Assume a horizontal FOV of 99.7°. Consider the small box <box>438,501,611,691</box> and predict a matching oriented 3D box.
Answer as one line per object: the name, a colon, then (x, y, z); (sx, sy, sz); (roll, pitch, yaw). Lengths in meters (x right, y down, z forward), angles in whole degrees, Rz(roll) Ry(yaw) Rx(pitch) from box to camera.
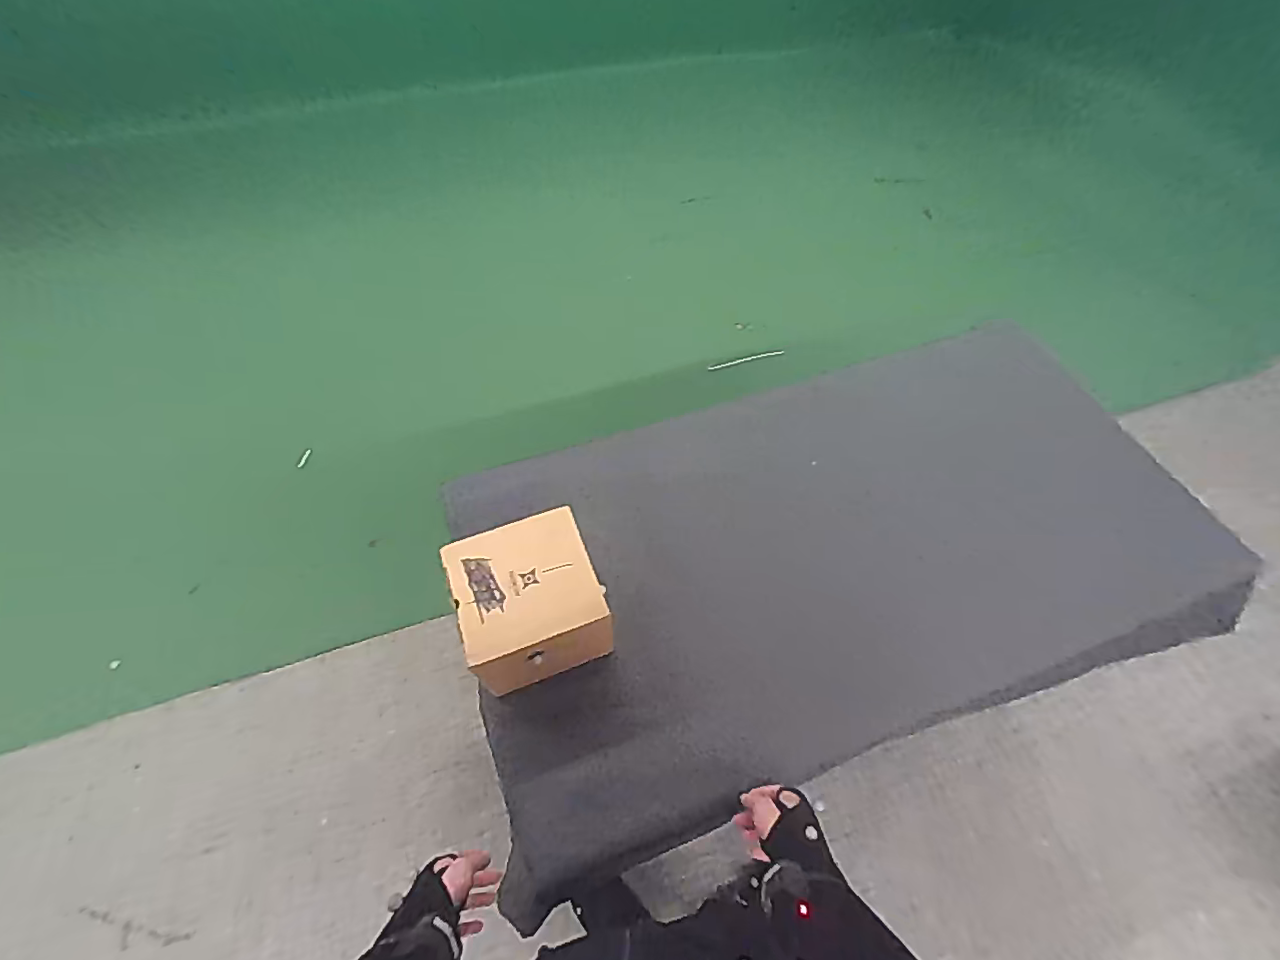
small box: (-0.146, 0.159, 0.719); (0.179, 0.176, 0.168); (-17, 61, -16)
